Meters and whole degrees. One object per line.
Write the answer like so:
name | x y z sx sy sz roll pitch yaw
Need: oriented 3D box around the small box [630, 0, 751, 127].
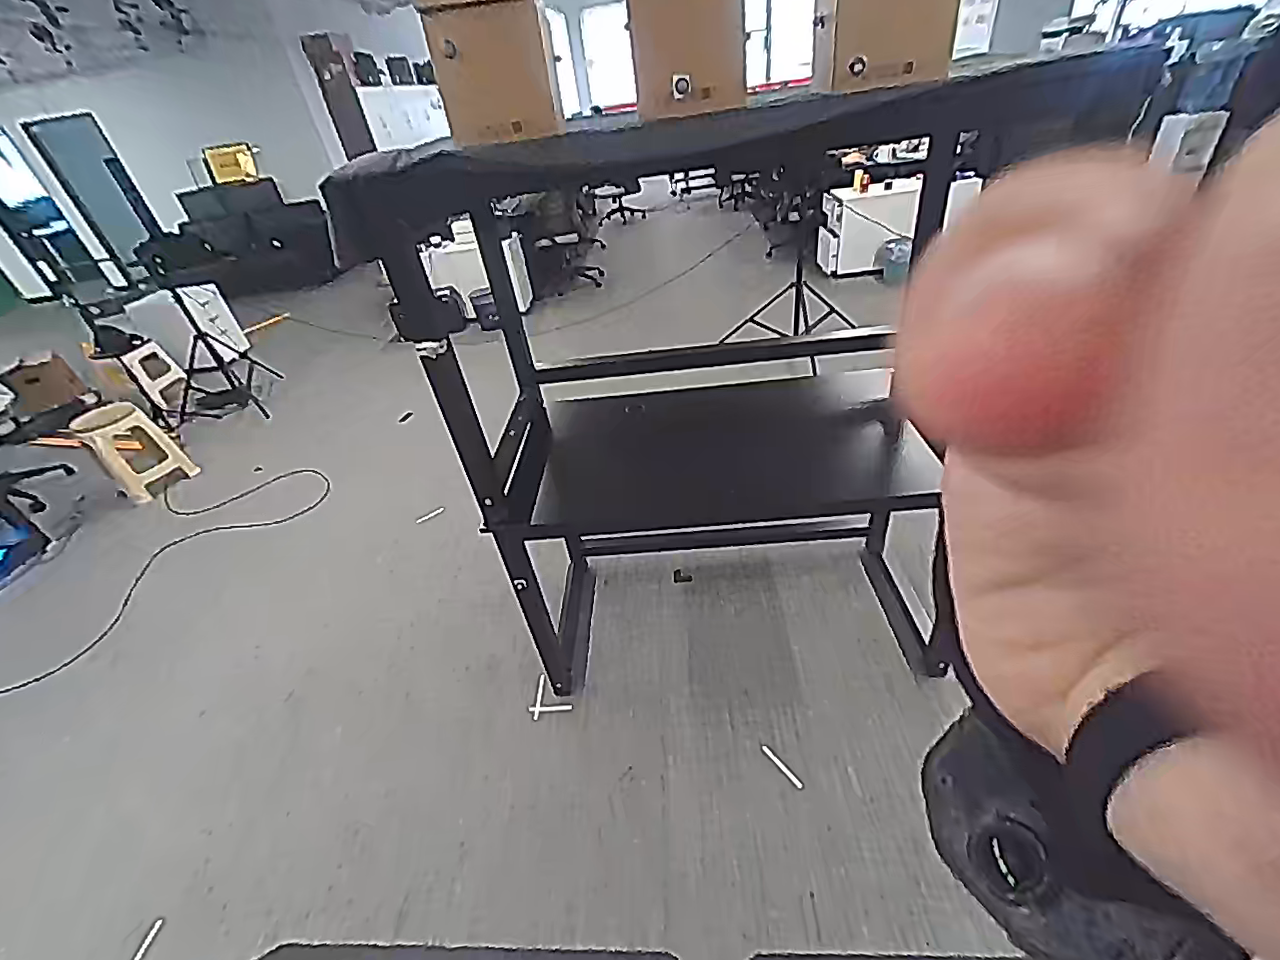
small box | 0.081 -0.651 0.829 0.168 0.176 0.179 -4 35 8

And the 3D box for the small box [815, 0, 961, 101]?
small box | 0.362 -0.680 0.806 0.168 0.176 0.179 -4 35 7

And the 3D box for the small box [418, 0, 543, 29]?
small box | -0.236 -0.756 0.754 0.168 0.176 0.179 -7 35 -1
